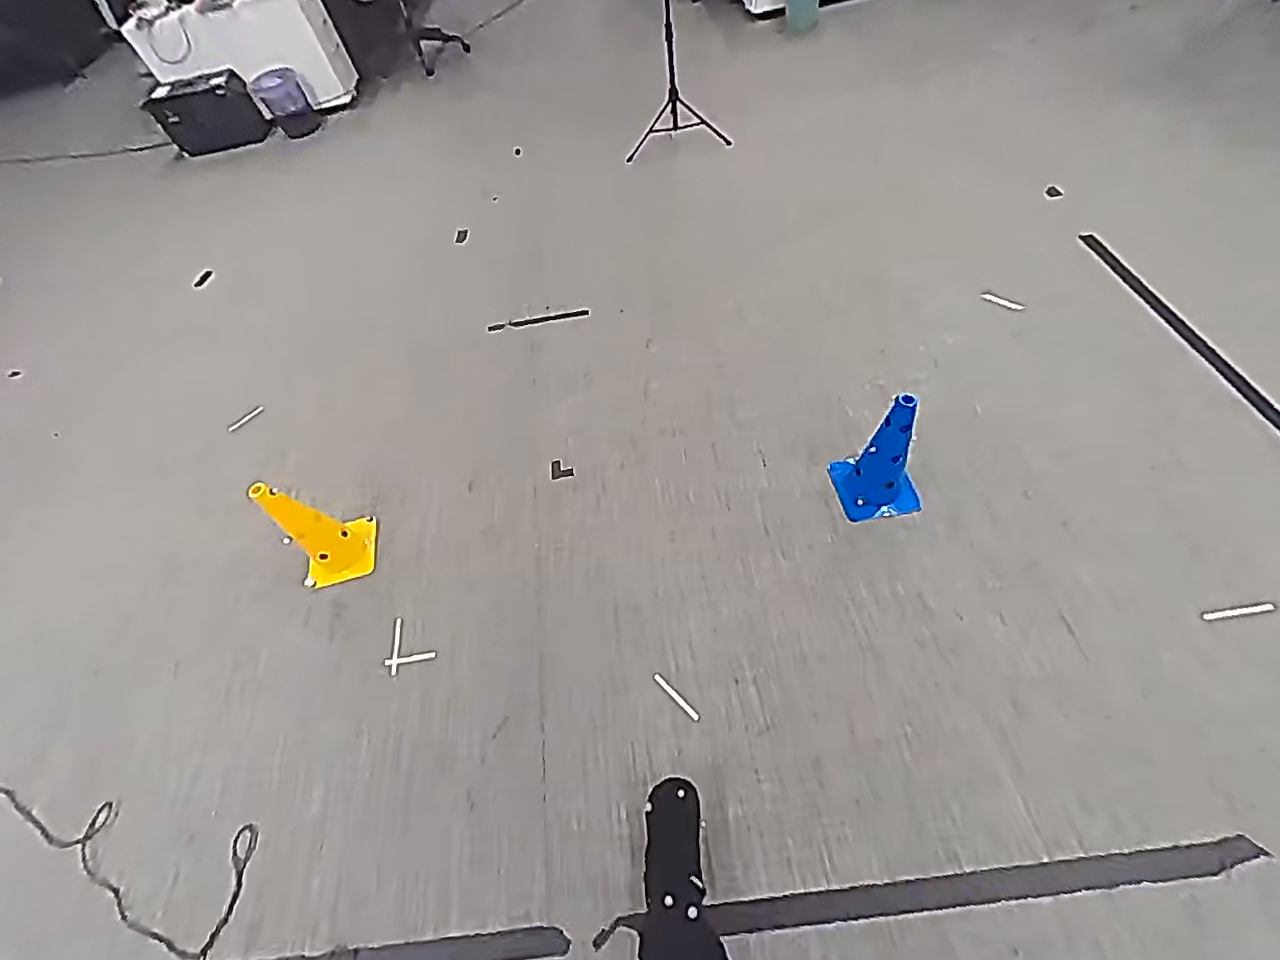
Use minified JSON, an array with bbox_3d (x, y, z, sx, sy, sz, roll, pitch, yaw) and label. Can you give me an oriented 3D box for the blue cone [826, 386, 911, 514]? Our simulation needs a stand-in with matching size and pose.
[{"bbox_3d":[0.608,-0.086,1.360,0.193,0.380,0.192,-10,54,3],"label":"blue cone"}]
